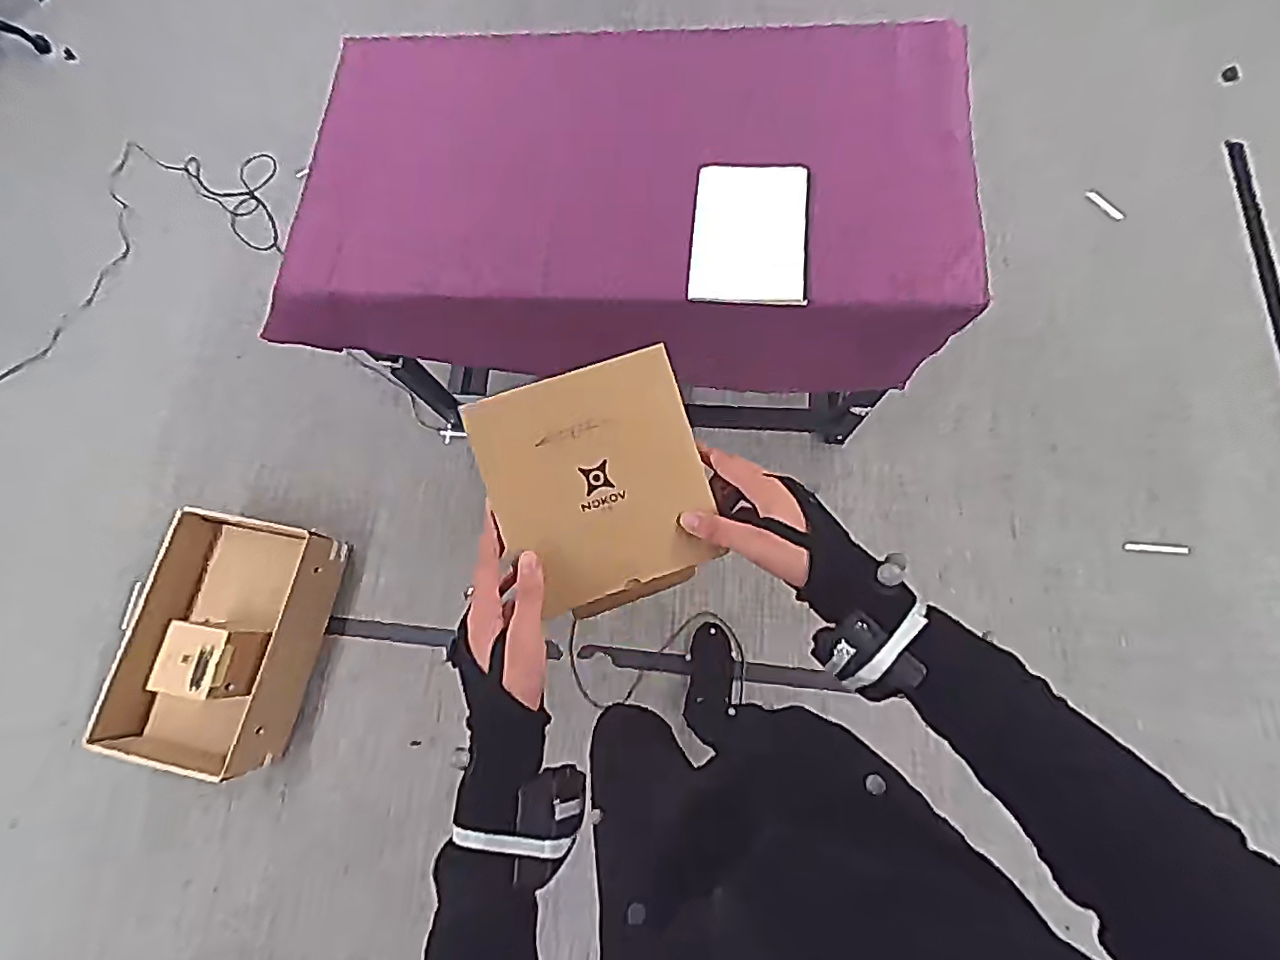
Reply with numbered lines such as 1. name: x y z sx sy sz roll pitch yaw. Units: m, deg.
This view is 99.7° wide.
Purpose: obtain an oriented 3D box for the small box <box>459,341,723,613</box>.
1. small box: -0.042 -0.005 0.495 0.168 0.176 0.179 -18 93 -6
